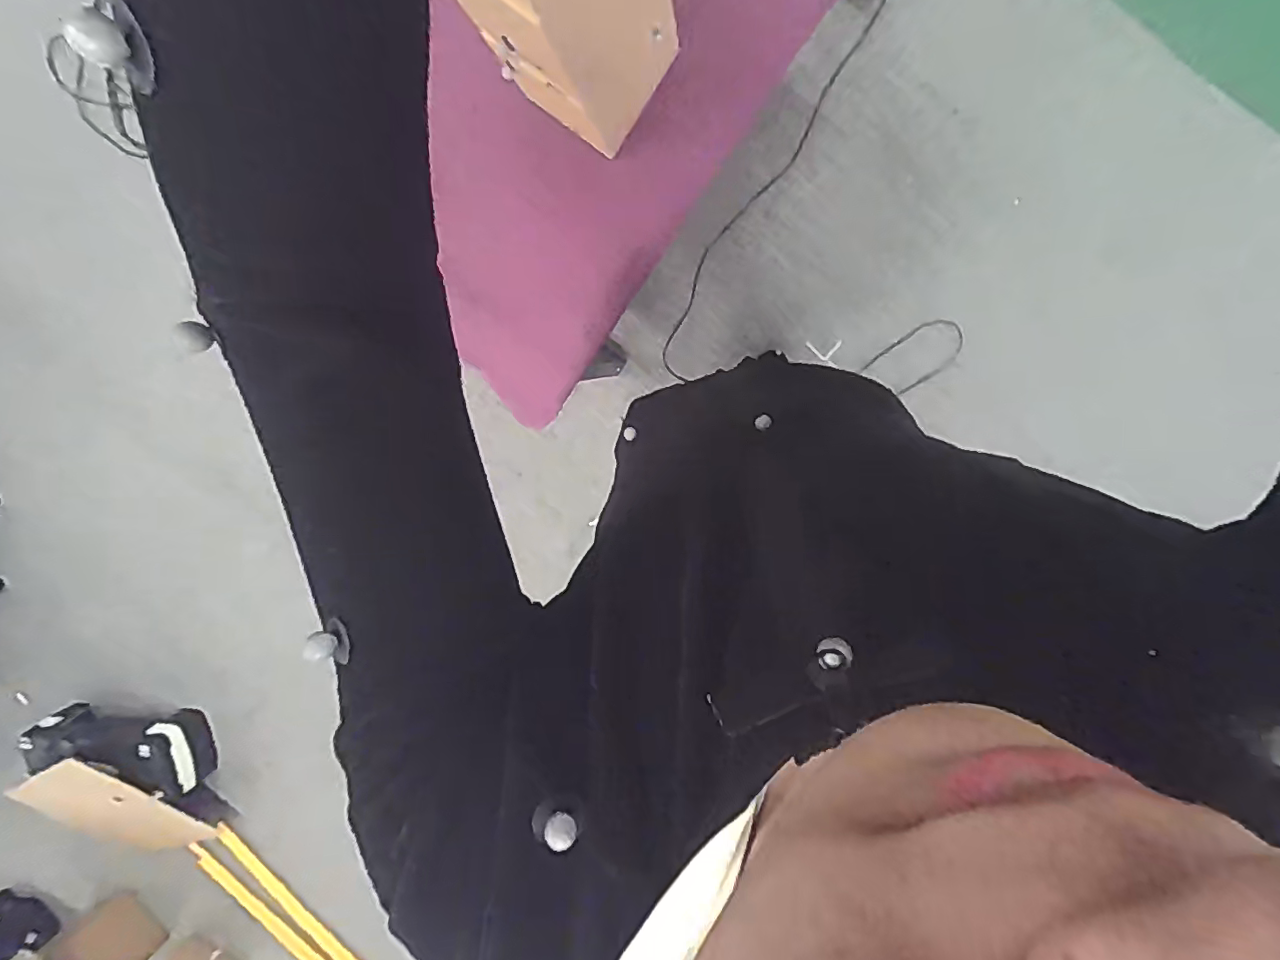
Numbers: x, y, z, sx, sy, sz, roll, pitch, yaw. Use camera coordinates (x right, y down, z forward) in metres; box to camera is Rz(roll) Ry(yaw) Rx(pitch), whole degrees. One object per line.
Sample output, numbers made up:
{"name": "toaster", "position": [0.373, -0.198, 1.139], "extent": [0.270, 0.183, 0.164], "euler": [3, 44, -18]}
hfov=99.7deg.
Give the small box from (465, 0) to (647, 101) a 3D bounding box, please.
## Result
{"name": "small box", "position": [-0.095, -0.559, 0.567], "extent": [0.168, 0.176, 0.179], "euler": [38, 105, 1]}
